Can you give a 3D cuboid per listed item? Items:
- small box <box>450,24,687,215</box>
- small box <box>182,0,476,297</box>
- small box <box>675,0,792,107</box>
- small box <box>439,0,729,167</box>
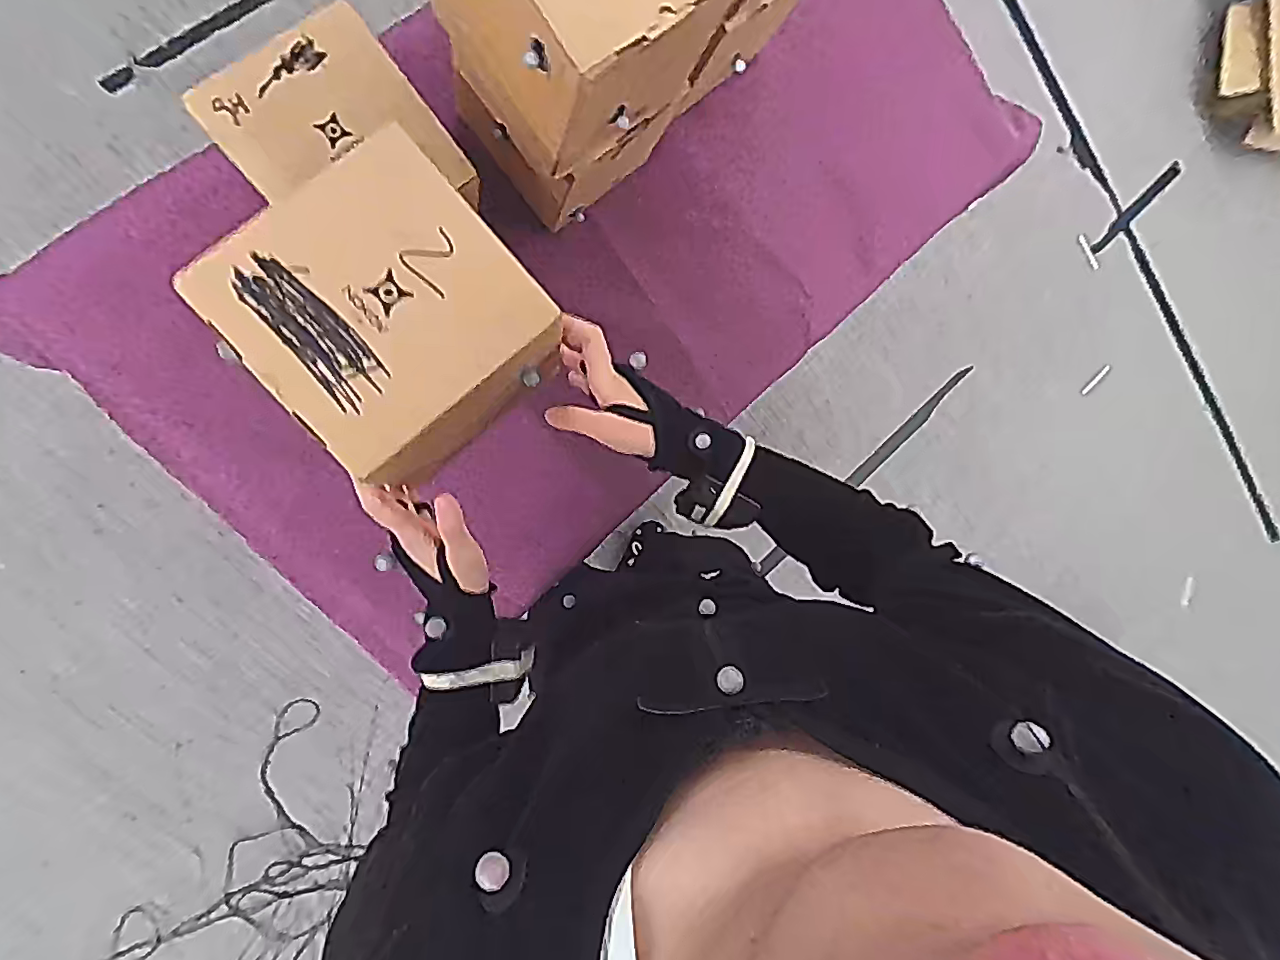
[{"bbox_3d":[-0.083,-0.425,0.599,0.168,0.176,0.179,-43,104,-9],"label":"small box"},{"bbox_3d":[-0.286,-0.308,0.550,0.168,0.176,0.179,-41,106,-9],"label":"small box"},{"bbox_3d":[0.073,-0.595,0.628,0.168,0.176,0.179,-42,105,-8],"label":"small box"},{"bbox_3d":[-0.051,-0.405,0.441,0.168,0.176,0.179,-40,106,-9],"label":"small box"}]
